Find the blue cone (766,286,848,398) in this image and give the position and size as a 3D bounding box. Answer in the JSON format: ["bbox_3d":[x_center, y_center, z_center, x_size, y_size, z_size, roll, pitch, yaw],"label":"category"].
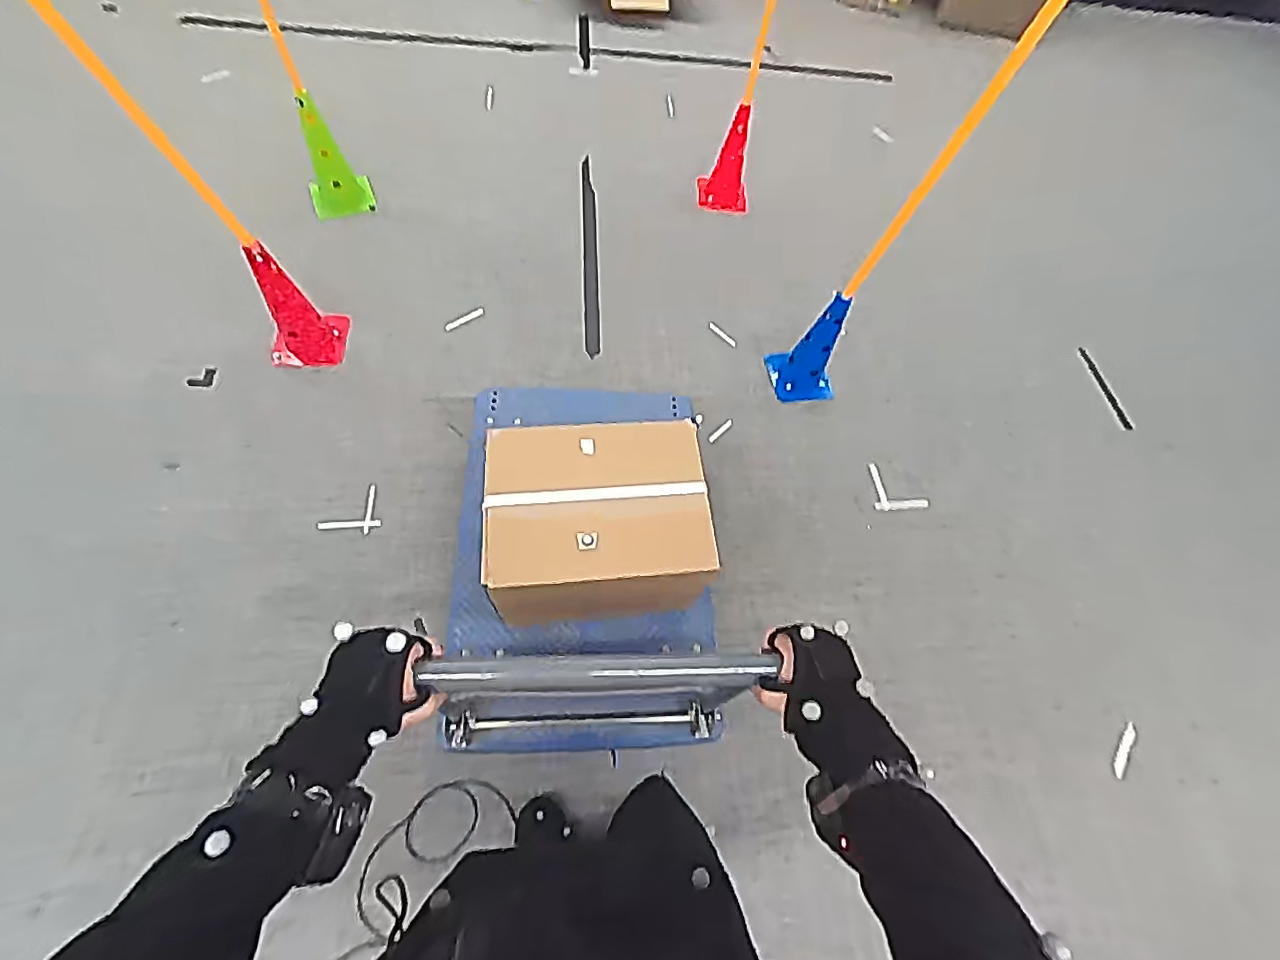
[{"bbox_3d":[0.547,-0.430,1.662,0.193,0.380,0.192,-4,62,-10],"label":"blue cone"}]

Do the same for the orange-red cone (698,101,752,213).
[{"bbox_3d":[0.355,-1.235,2.042,0.199,0.360,0.198,5,63,-5],"label":"orange-red cone"}]
